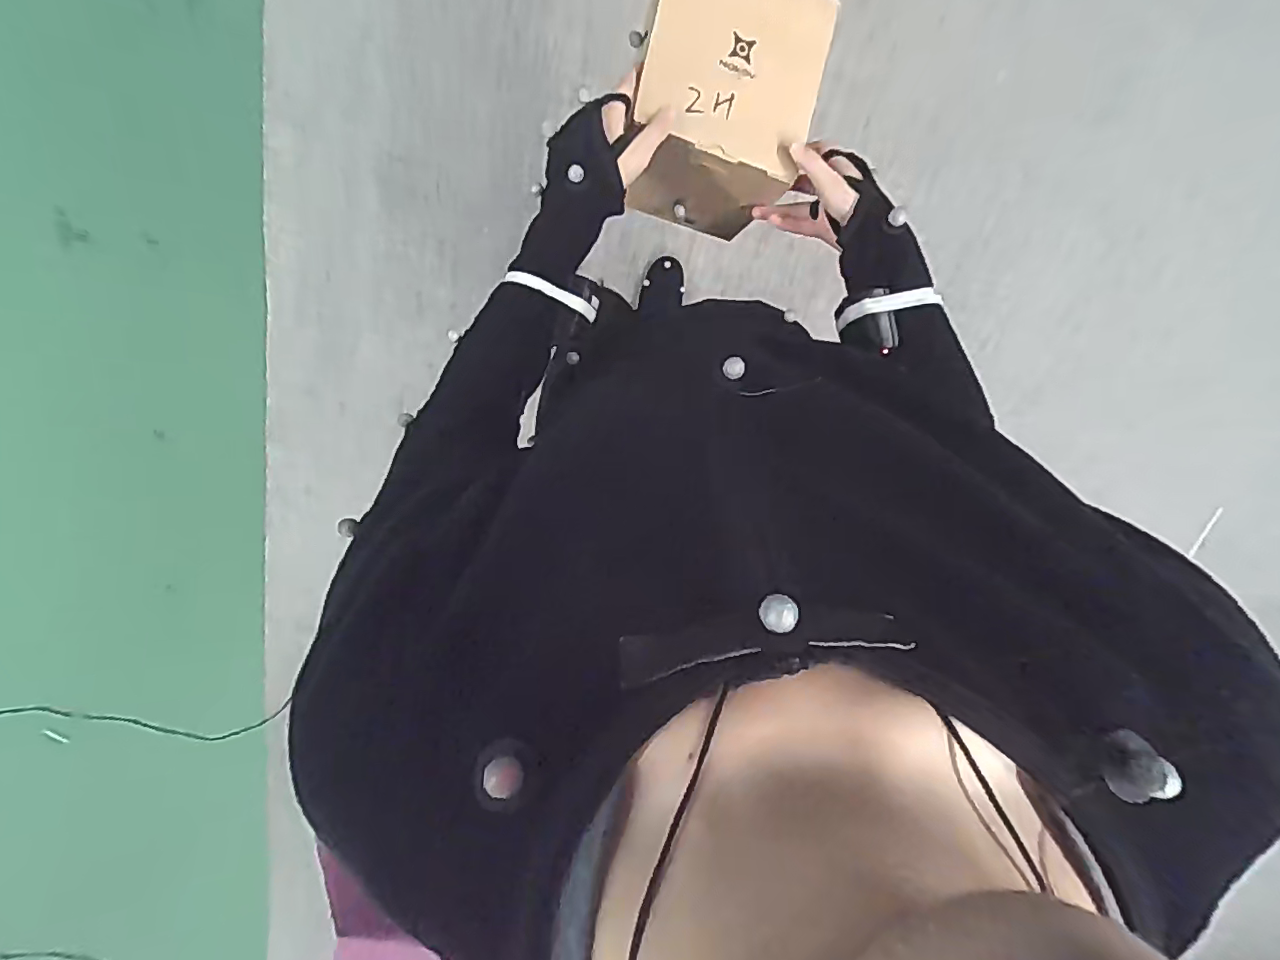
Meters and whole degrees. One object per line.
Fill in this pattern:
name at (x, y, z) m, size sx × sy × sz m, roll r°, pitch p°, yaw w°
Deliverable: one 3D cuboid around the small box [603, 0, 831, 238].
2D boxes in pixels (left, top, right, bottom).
small box at (0.066, -0.389, 0.568) m, size 0.168 × 0.176 × 0.179 m, roll 14°, pitch 93°, yaw -13°
